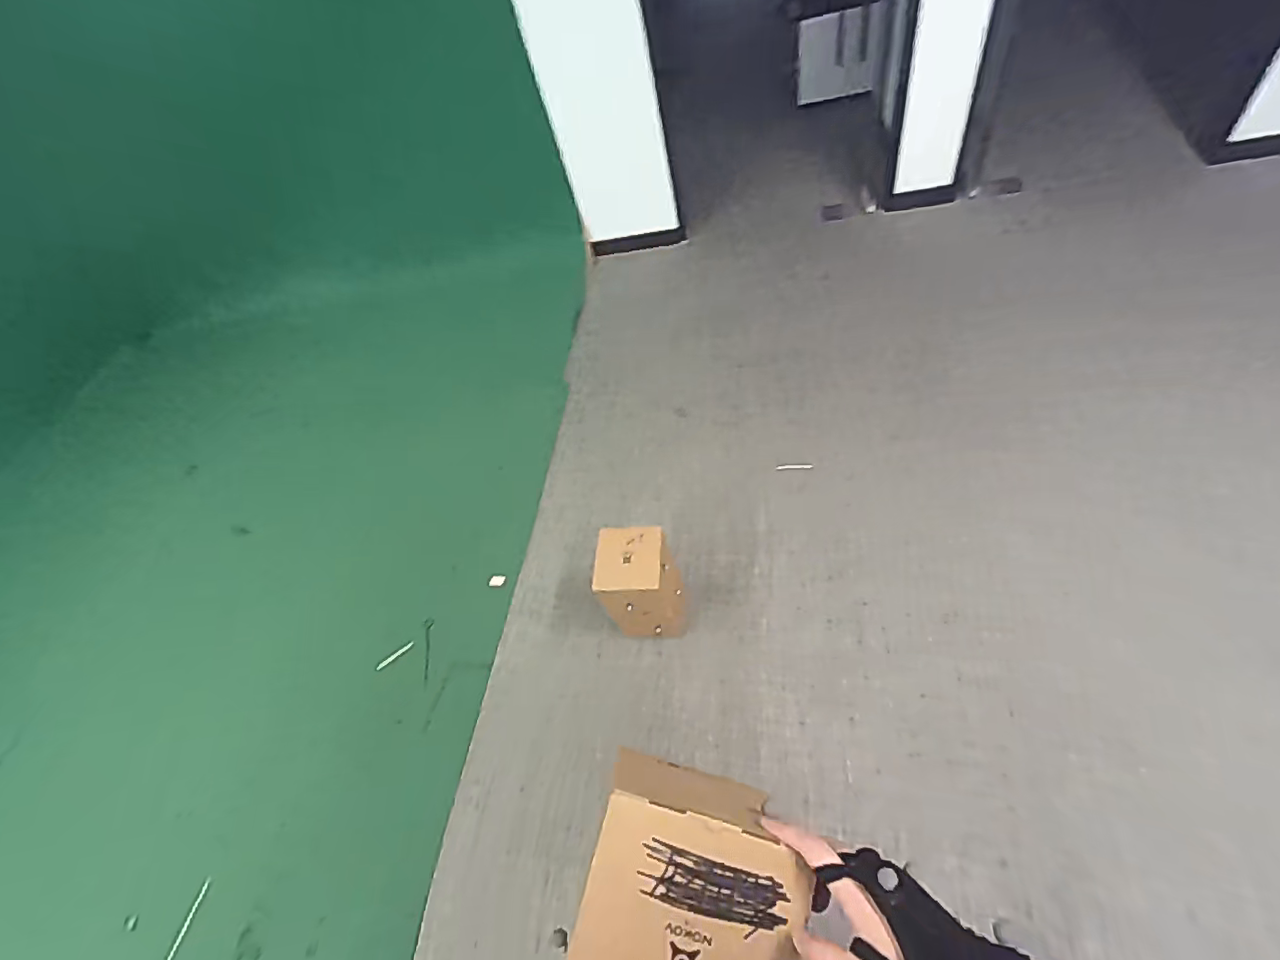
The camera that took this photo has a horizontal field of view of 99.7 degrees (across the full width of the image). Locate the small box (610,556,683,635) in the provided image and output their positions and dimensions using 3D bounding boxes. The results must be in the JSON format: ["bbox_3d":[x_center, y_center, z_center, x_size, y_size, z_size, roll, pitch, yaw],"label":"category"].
[{"bbox_3d":[0.025,0.330,1.529,0.168,0.176,0.179,-3,53,13],"label":"small box"}]

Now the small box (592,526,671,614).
[{"bbox_3d":[-0.014,0.238,1.399,0.168,0.176,0.179,-4,54,12],"label":"small box"}]
